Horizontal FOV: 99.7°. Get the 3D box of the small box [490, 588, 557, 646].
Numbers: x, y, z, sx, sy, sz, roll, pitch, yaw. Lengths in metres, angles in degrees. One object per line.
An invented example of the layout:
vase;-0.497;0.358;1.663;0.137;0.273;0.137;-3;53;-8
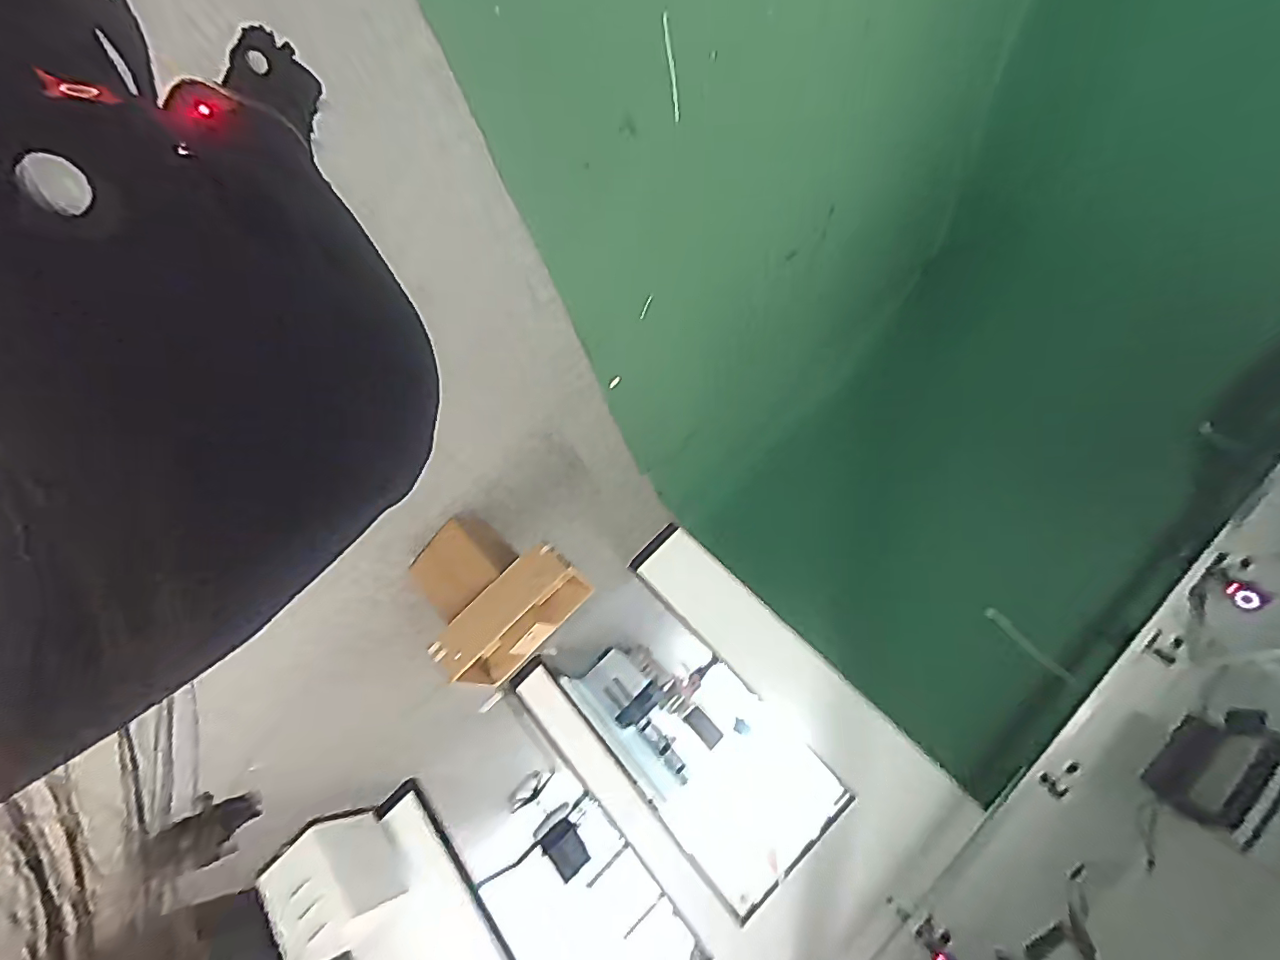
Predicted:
small box;-0.483;0.568;2.238;0.168;0.176;0.179;-48;156;-2
